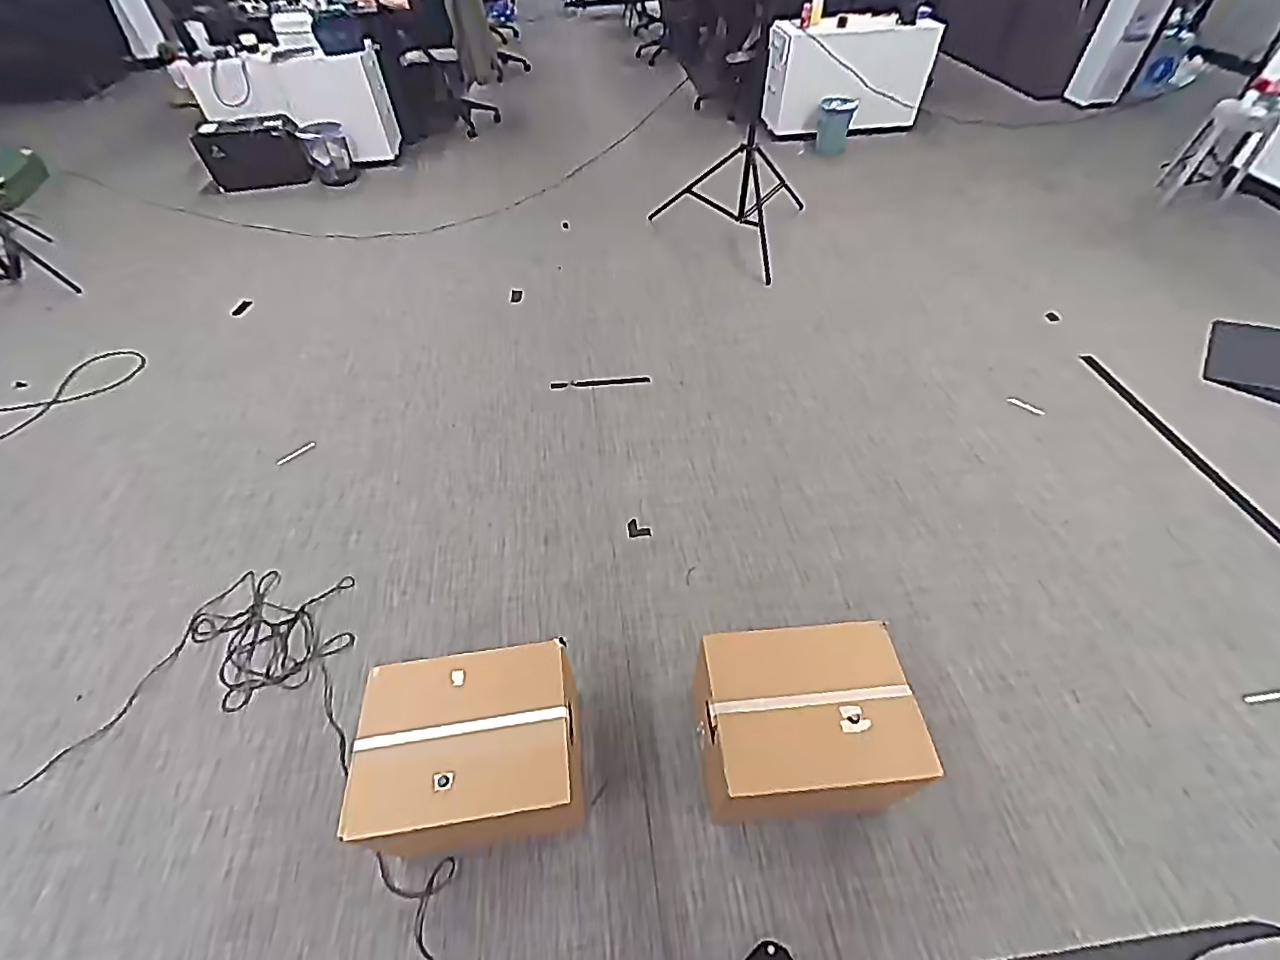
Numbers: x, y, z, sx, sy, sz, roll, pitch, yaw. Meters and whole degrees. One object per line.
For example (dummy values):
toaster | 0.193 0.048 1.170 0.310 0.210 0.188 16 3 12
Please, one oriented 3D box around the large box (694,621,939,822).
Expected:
large box | 0.350 0.540 1.206 0.408 0.320 0.320 -3 50 -3
